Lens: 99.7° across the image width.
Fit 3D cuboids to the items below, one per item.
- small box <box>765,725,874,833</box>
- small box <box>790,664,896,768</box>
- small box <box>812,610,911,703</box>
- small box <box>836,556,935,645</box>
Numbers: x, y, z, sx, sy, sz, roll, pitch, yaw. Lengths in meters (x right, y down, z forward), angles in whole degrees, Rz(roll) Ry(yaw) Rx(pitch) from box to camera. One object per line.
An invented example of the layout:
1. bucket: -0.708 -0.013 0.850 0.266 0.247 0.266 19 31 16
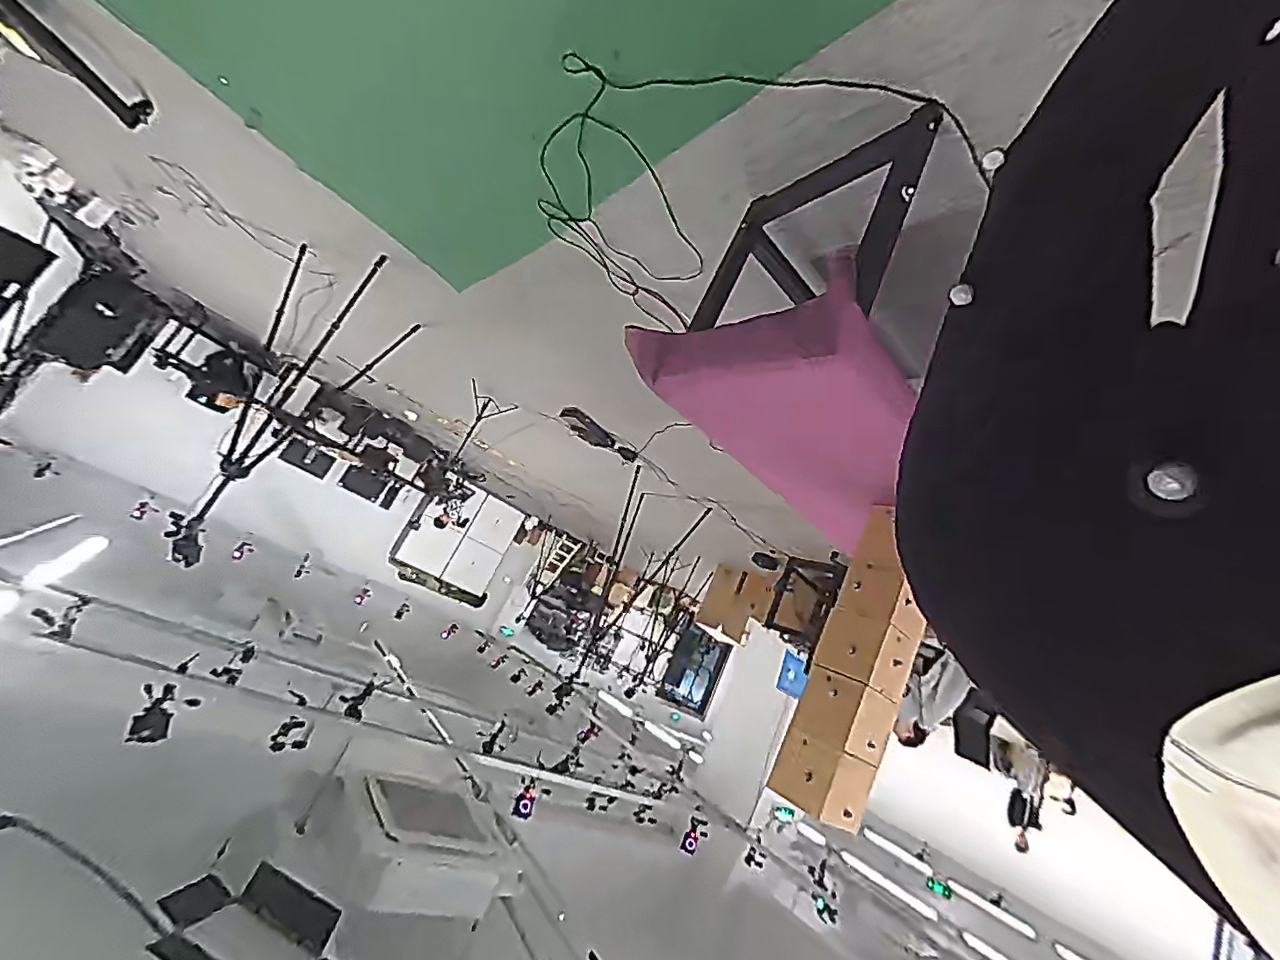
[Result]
1. small box: 0.453 0.743 1.359 0.179 0.176 0.168 35 163 -30
2. small box: 0.530 0.606 1.400 0.179 0.176 0.168 37 162 -29
3. small box: 0.600 0.465 1.447 0.168 0.176 0.179 36 162 -30
4. small box: 0.675 0.325 1.484 0.179 0.176 0.168 36 163 -31
